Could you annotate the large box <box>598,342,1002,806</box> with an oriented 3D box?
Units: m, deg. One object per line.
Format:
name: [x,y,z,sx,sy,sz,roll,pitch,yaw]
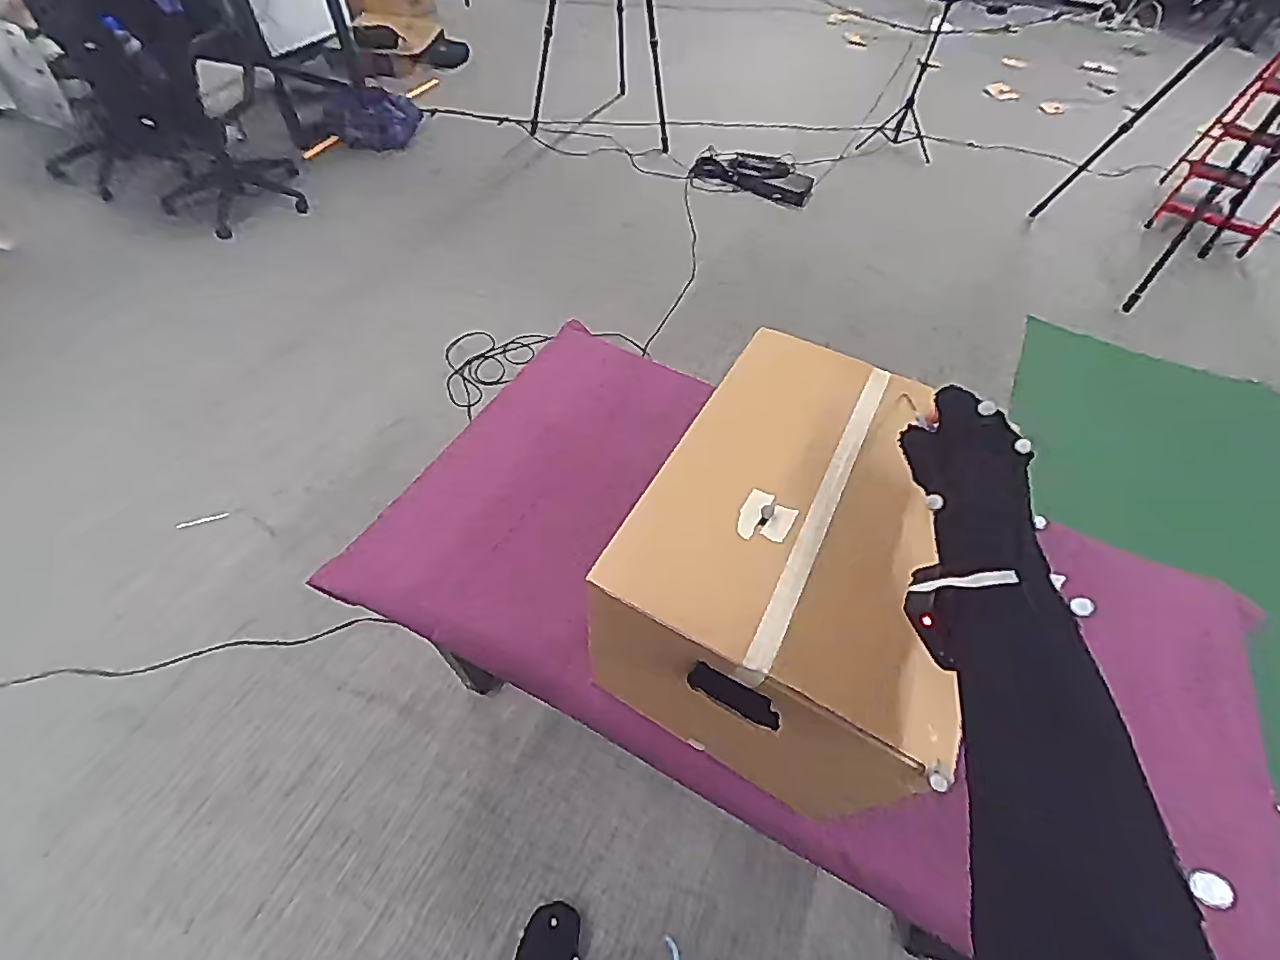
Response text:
large box: [0.178,0.111,0.670,0.320,0.320,0.408,26,57,15]
